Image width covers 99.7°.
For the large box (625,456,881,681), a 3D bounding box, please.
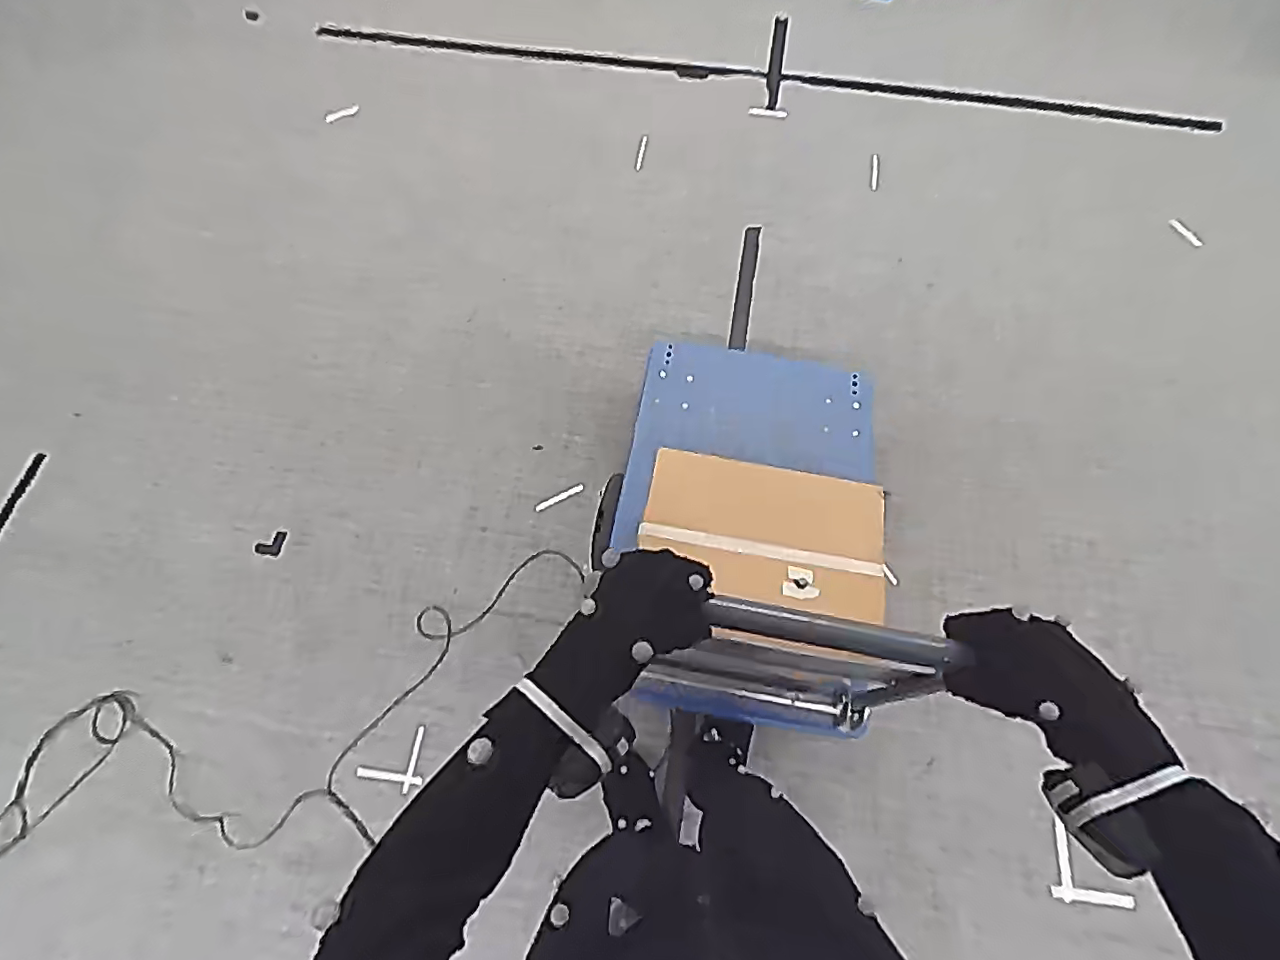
[{"bbox_3d":[0.192,0.182,1.029,0.408,0.320,0.320,10,68,2],"label":"large box"}]
